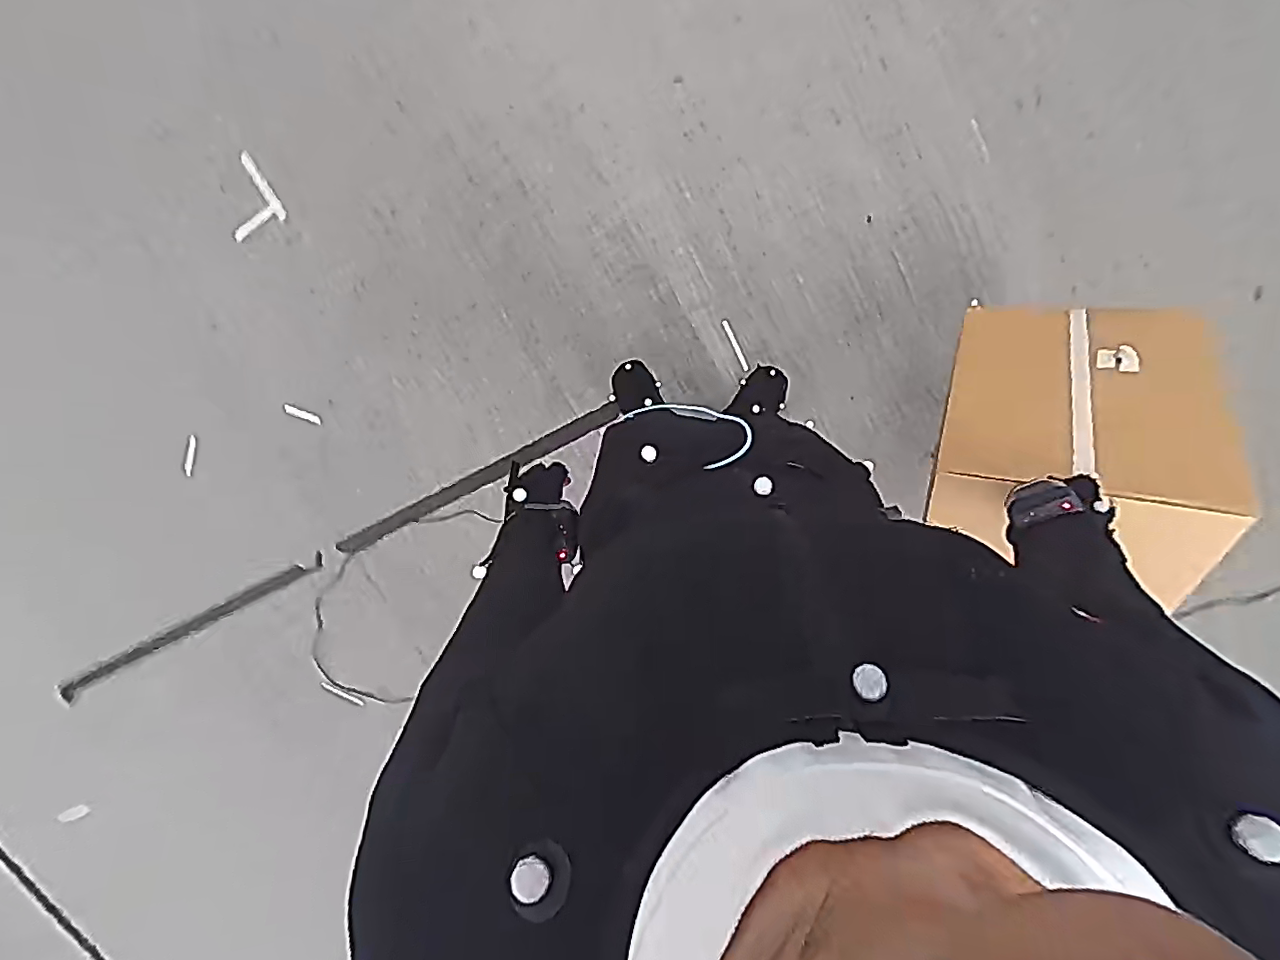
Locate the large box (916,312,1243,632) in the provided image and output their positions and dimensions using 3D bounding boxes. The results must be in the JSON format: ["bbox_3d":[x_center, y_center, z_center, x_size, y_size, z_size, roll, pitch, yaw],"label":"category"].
[{"bbox_3d":[0.651,-0.029,0.882,0.320,0.408,0.320,10,140,26],"label":"large box"}]
